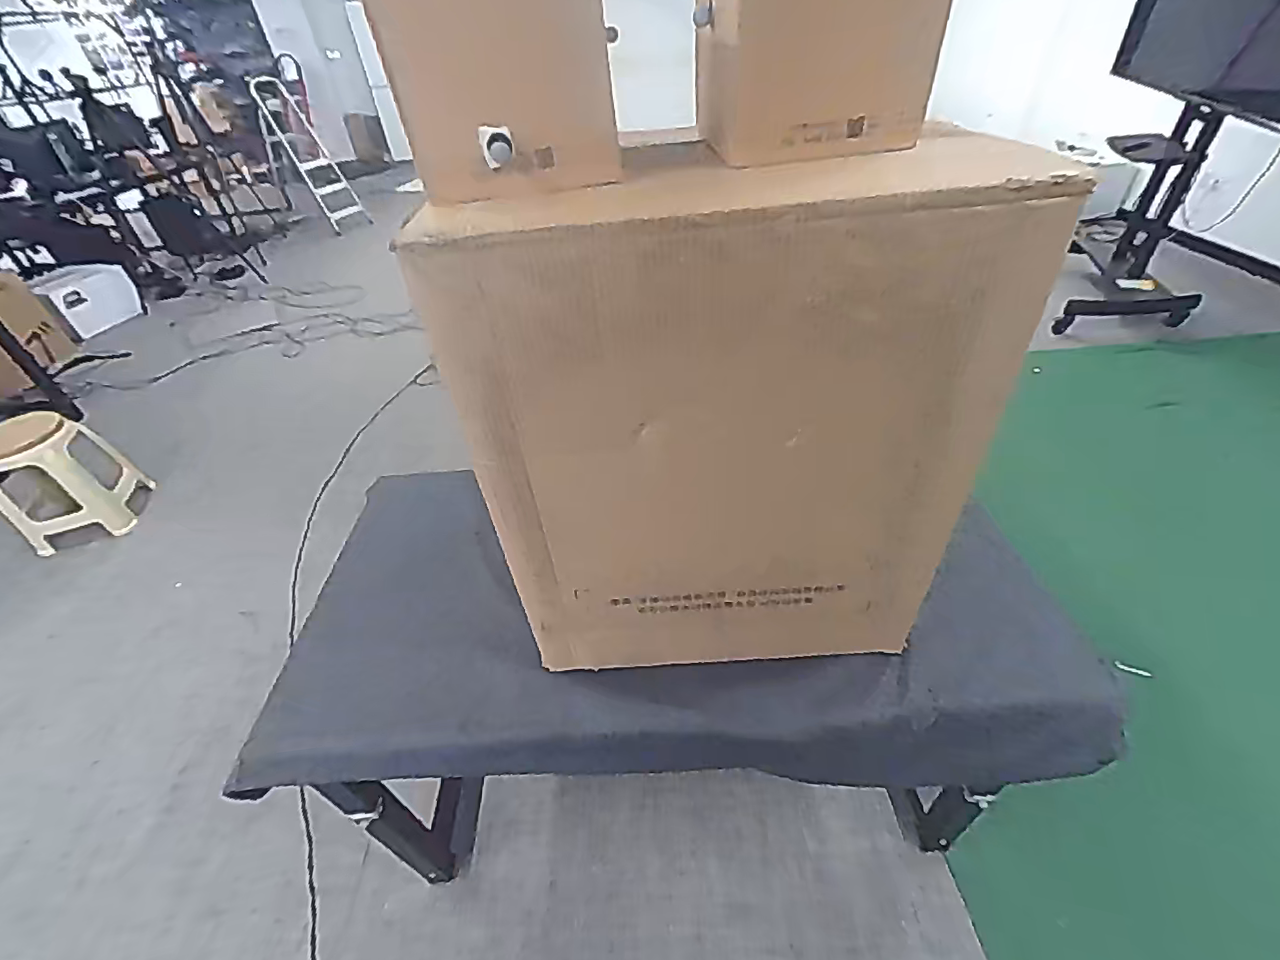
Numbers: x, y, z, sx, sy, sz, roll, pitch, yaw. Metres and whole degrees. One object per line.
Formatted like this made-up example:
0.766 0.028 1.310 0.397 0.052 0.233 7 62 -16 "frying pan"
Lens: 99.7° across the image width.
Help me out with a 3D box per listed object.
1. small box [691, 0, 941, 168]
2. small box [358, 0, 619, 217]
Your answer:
0.137 -0.387 0.472 0.168 0.176 0.179 -8 42 -1 "small box"
-0.115 -0.346 0.465 0.168 0.176 0.179 -10 44 1 "small box"
